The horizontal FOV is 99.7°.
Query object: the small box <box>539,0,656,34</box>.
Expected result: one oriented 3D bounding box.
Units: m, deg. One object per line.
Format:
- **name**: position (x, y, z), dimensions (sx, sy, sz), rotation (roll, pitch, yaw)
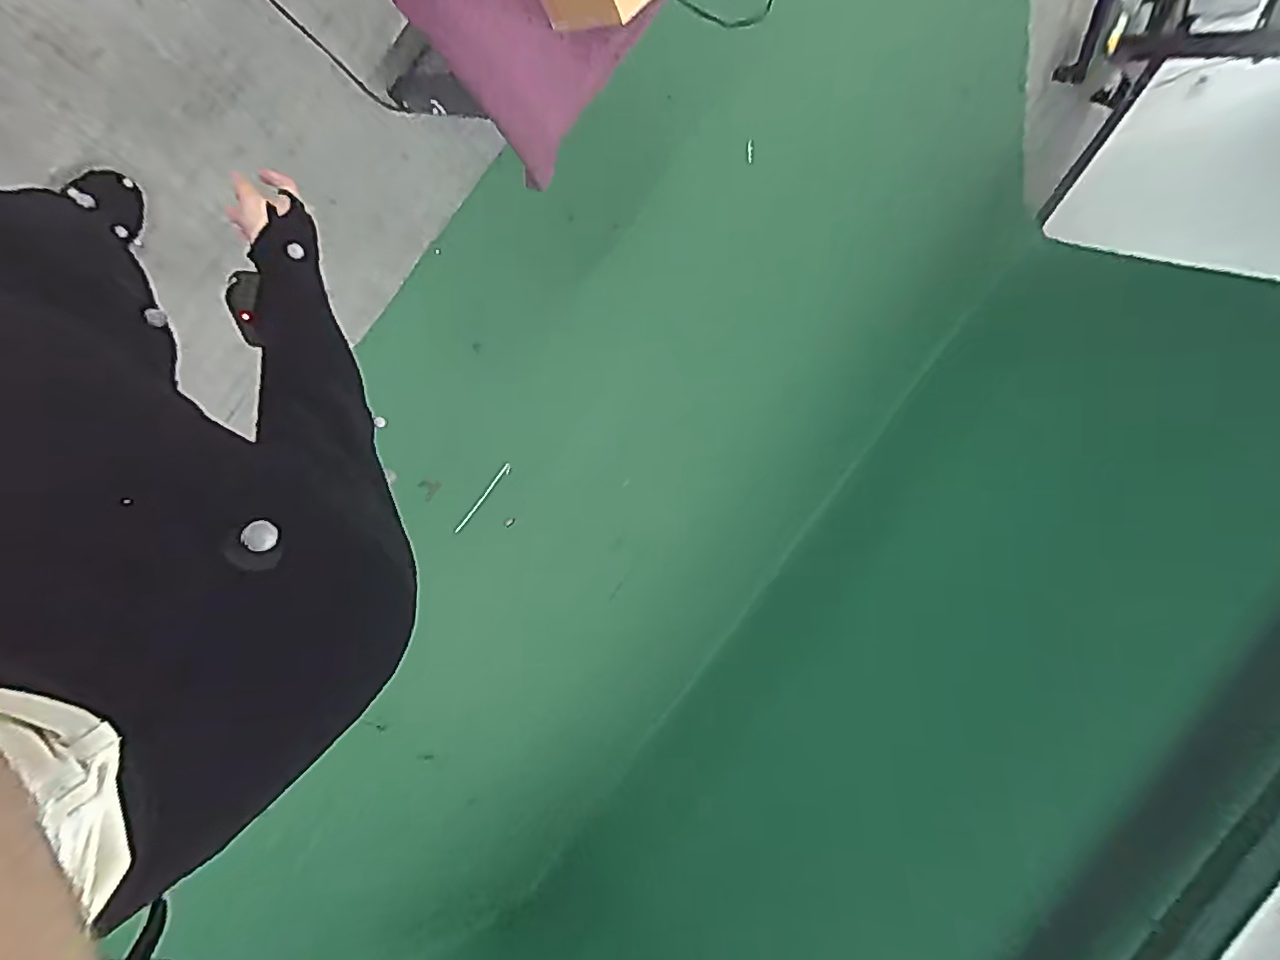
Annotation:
- **small box**: position (-0.052, -0.692, 0.664), dimensions (0.168, 0.176, 0.179), rotation (-47, 138, -6)
